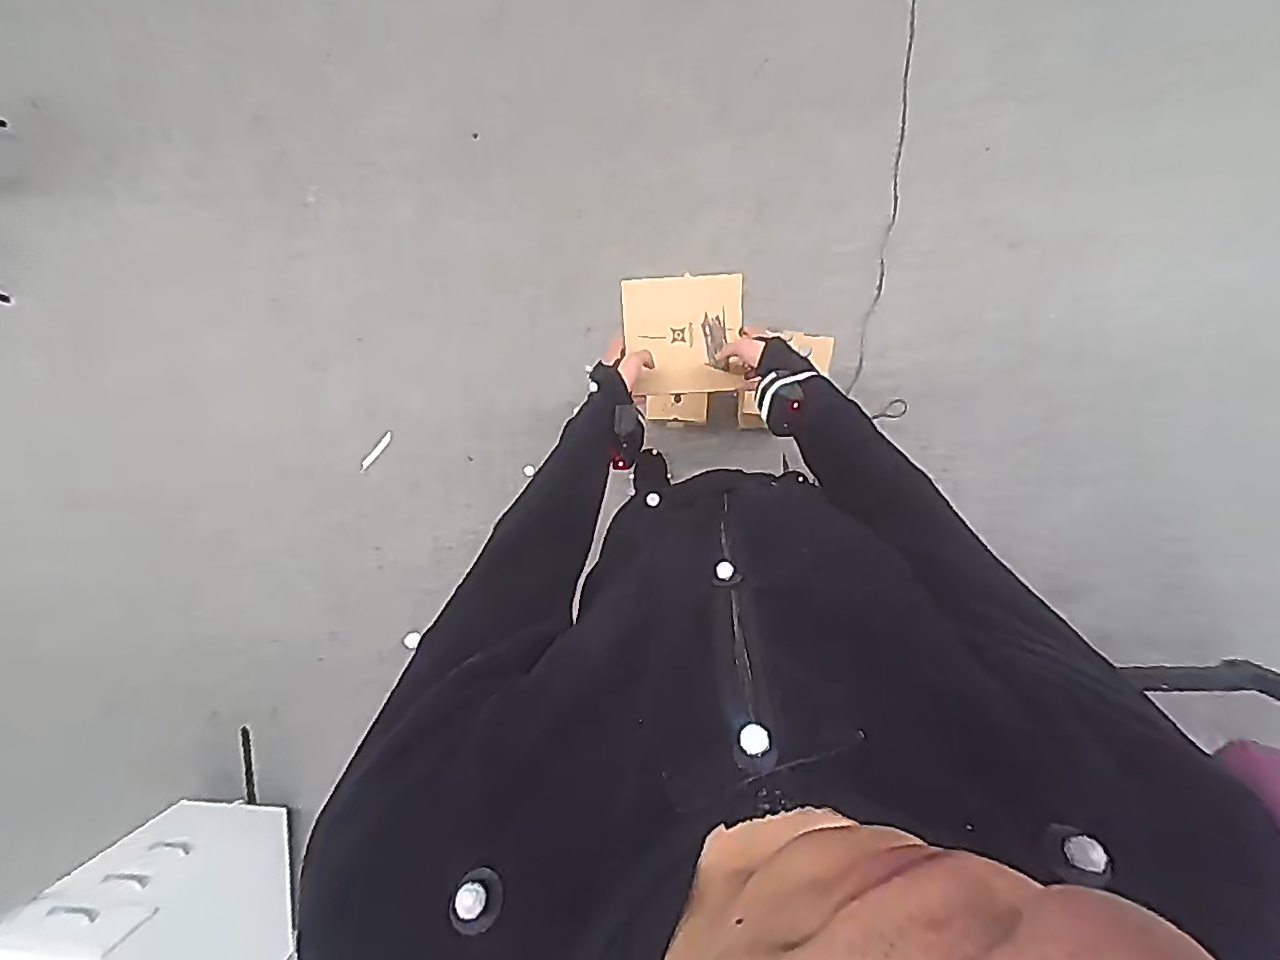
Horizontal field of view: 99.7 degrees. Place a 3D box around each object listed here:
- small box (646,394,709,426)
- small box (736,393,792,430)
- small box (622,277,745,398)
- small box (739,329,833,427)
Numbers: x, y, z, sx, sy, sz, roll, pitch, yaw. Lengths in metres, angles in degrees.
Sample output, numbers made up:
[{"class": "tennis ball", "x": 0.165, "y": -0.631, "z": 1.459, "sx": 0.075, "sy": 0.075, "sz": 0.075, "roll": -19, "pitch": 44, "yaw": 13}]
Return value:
[{"class": "small box", "x": 0.111, "y": -0.251, "z": 1.542, "sx": 0.168, "sy": 0.176, "sz": 0.179, "roll": 3, "pitch": 93, "yaw": 7}, {"class": "small box", "x": 0.356, "y": -0.235, "z": 1.516, "sx": 0.168, "sy": 0.176, "sz": 0.179, "roll": -1, "pitch": 93, "yaw": 8}, {"class": "small box", "x": 0.063, "y": -0.219, "z": 0.859, "sx": 0.179, "sy": 0.176, "sz": 0.168, "roll": -3, "pitch": 99, "yaw": 0}, {"class": "small box", "x": 0.313, "y": -0.218, "z": 1.192, "sx": 0.168, "sy": 0.176, "sz": 0.179, "roll": 7, "pitch": 92, "yaw": 7}]
